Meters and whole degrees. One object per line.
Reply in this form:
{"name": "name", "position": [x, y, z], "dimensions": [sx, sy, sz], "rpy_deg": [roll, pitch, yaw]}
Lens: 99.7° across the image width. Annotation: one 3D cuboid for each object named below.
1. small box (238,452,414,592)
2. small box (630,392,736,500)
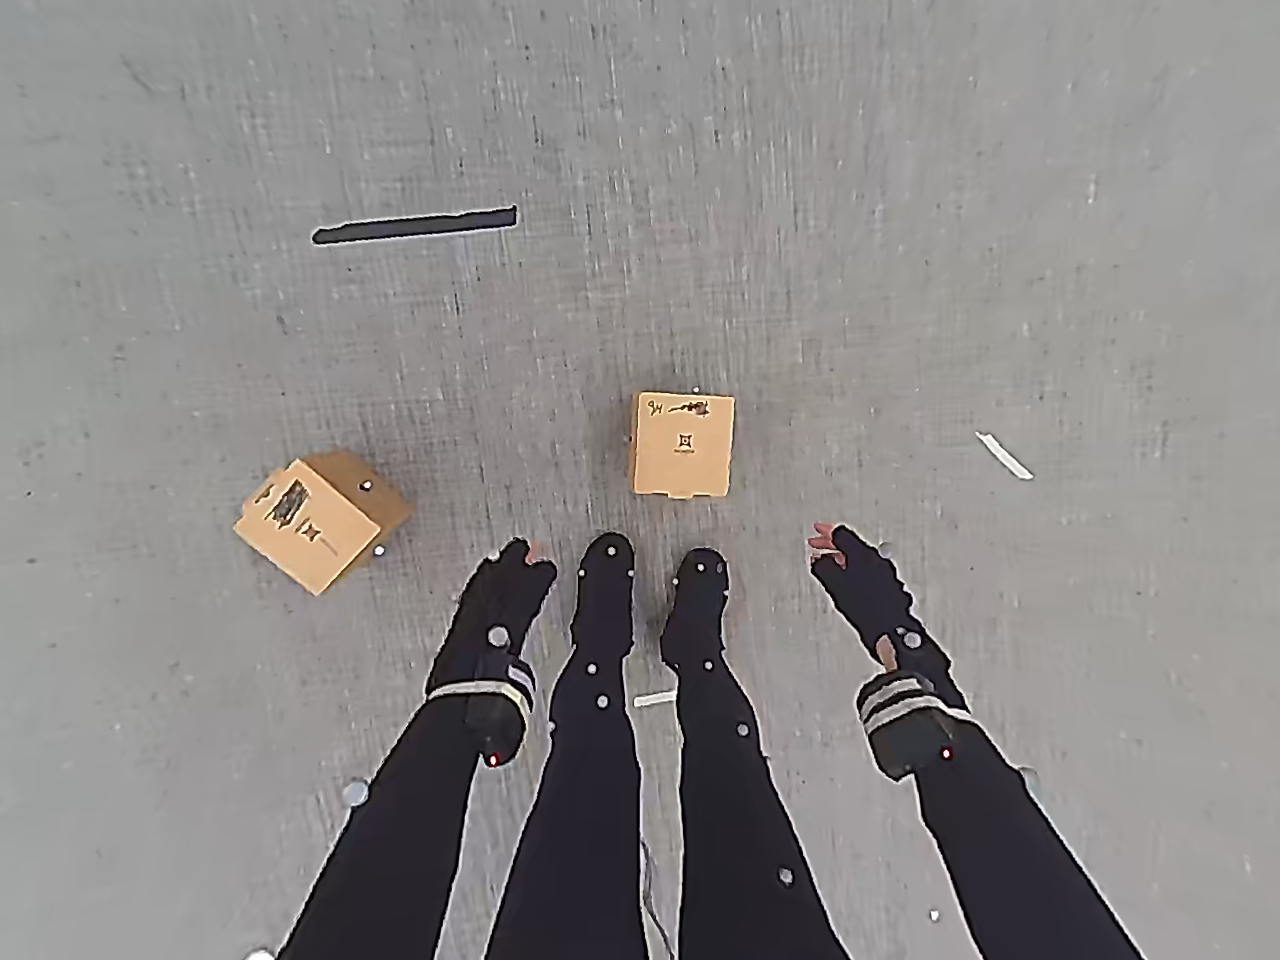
{"name": "small box", "position": [-0.547, 0.064, 0.969], "dimensions": [0.168, 0.176, 0.179], "rpy_deg": [-45, 100, 3]}
{"name": "small box", "position": [0.070, -0.069, 1.000], "dimensions": [0.168, 0.176, 0.179], "rpy_deg": [3, 99, -5]}
